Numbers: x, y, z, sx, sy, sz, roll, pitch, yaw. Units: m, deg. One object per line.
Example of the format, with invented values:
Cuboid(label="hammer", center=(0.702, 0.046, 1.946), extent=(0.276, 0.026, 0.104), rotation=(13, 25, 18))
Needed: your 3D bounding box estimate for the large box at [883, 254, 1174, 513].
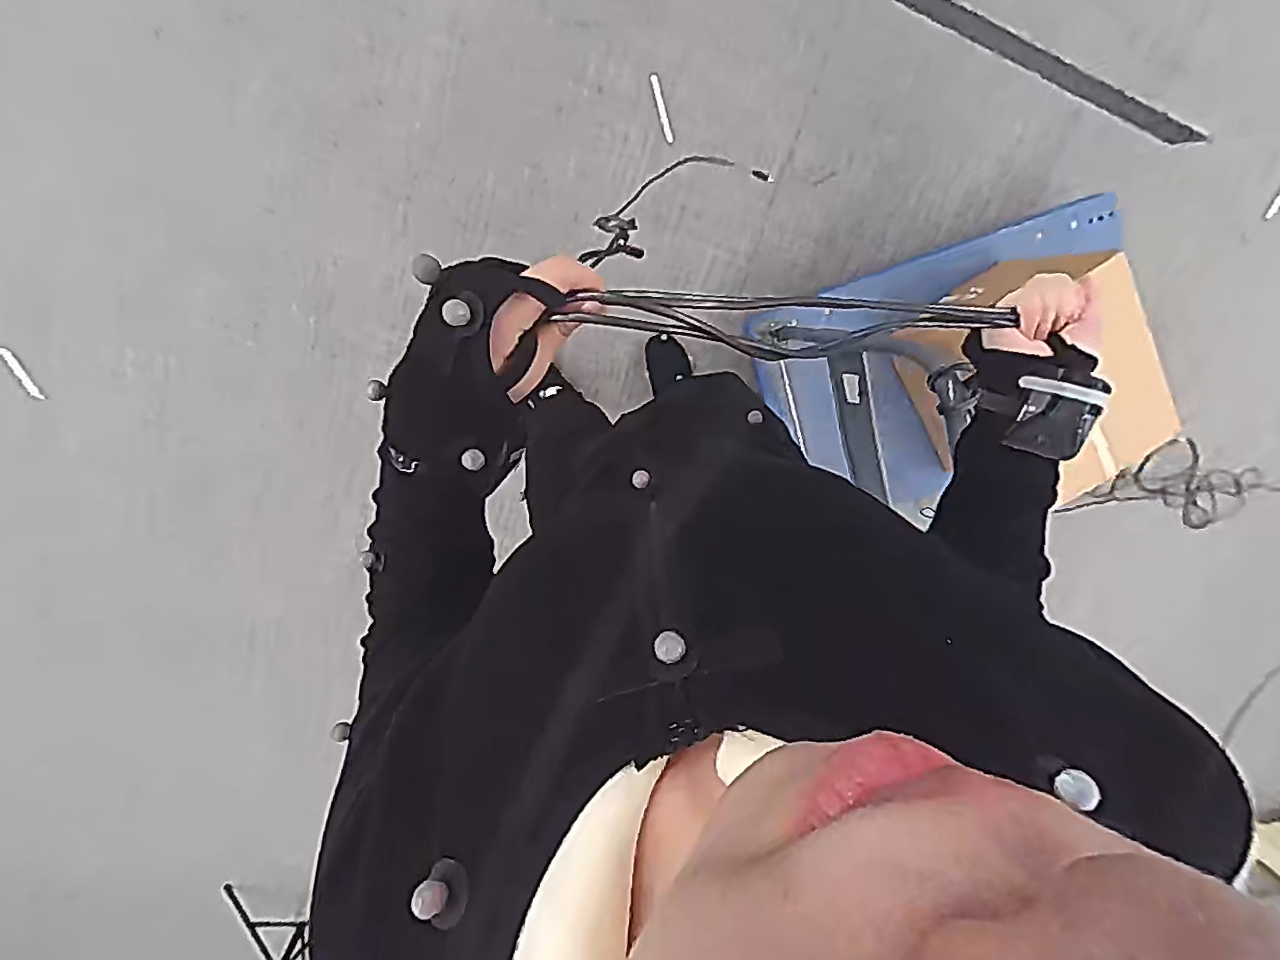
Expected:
Cuboid(label="large box", center=(0.805, -0.212, 1.161), extent=(0.320, 0.320, 0.408), rotation=(-33, 108, 7))
